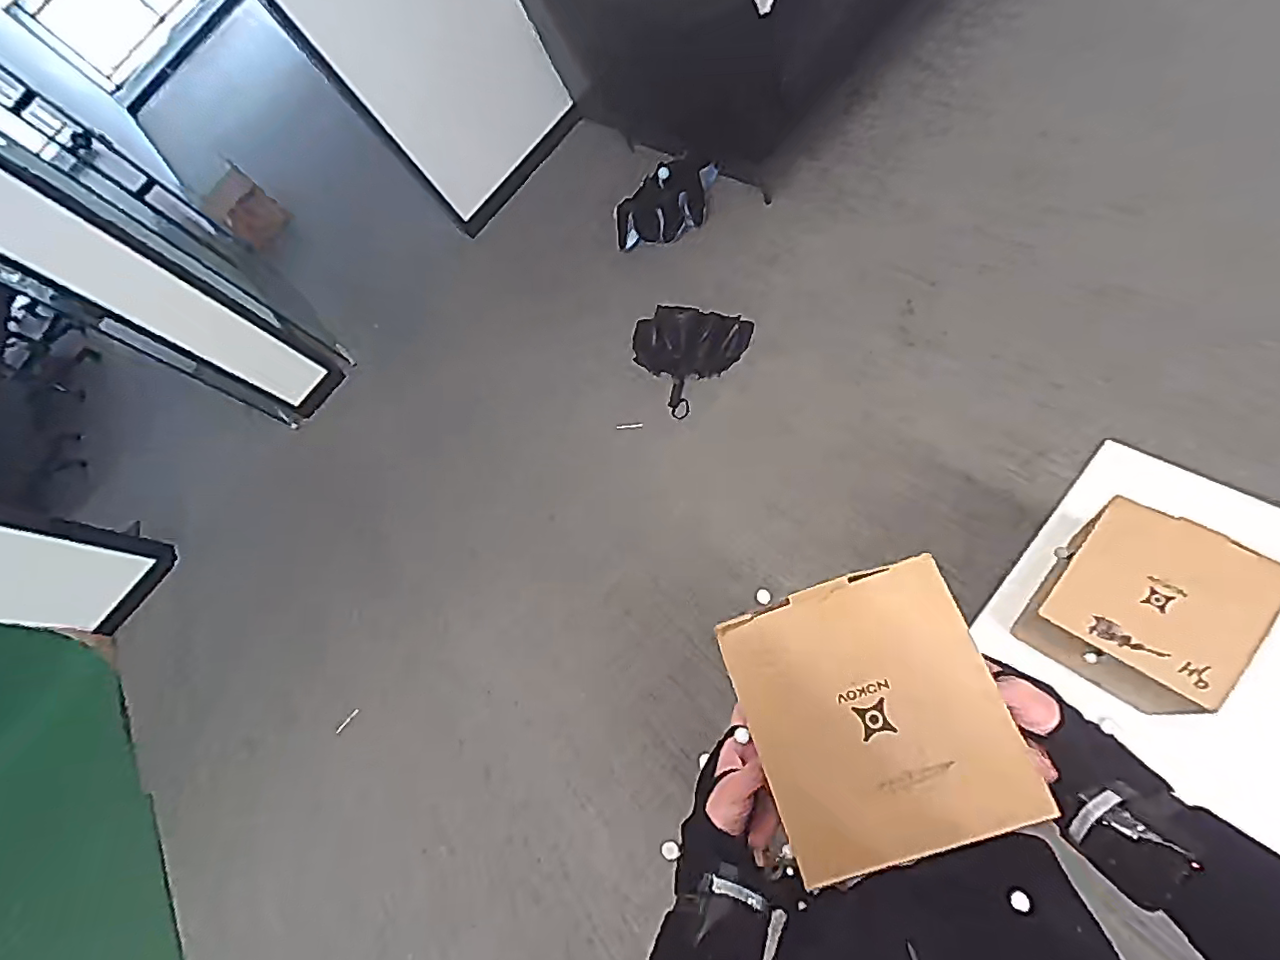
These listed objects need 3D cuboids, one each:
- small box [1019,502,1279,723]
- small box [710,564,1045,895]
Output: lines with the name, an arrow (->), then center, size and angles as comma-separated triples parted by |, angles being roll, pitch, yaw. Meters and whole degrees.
small box -> 0.590, 0.161, 0.643 | 0.168, 0.176, 0.179 | 35, 84, 33
small box -> 0.166, 0.184, 0.442 | 0.168, 0.176, 0.179 | -21, 73, 7
